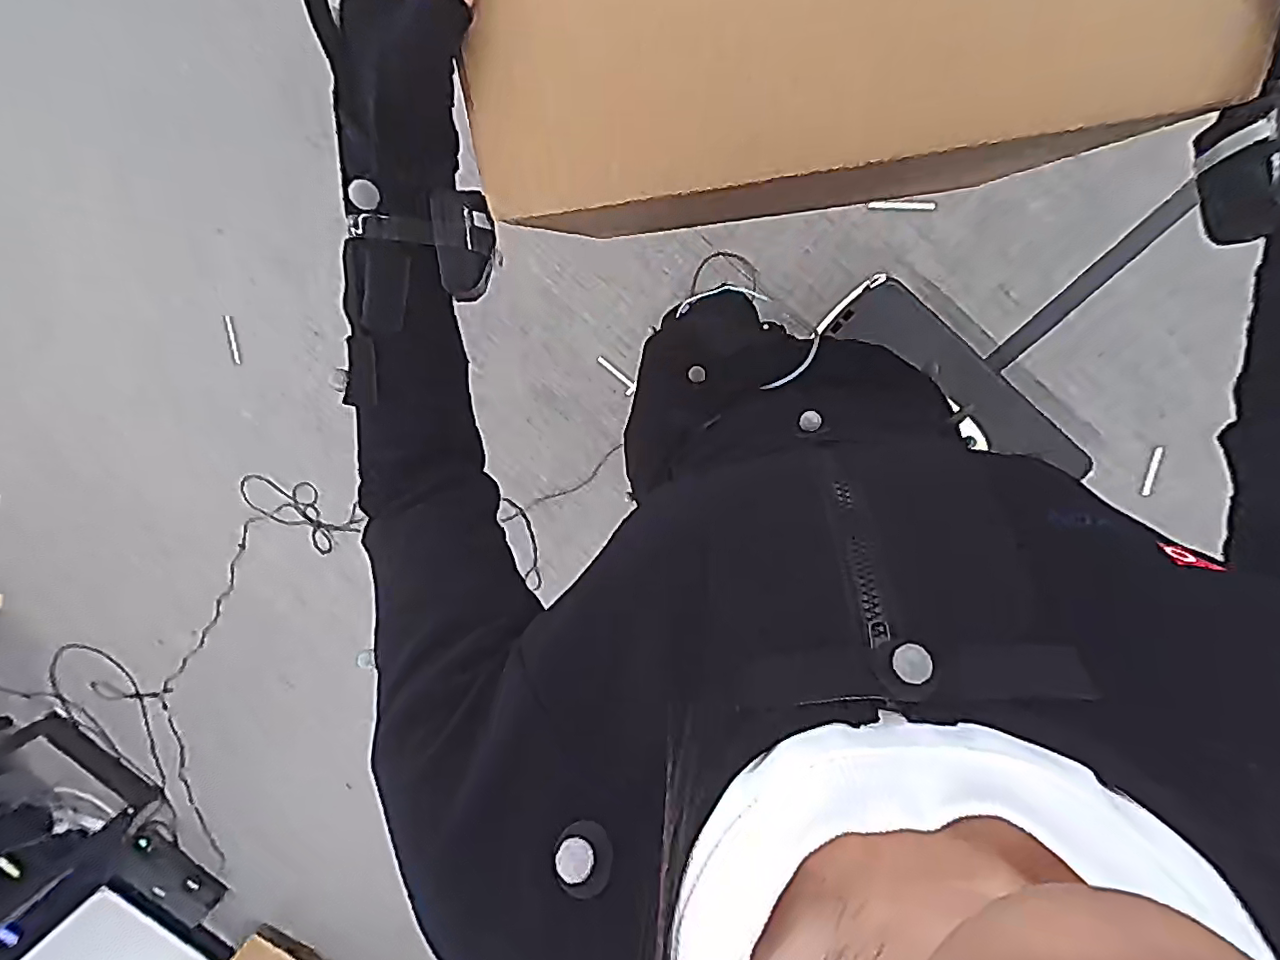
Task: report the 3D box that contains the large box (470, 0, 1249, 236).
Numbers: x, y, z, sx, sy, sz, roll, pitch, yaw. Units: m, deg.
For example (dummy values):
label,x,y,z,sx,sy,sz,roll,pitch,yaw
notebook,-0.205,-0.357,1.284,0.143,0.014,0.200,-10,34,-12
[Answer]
label,x,y,z,sx,sy,sz,roll,pitch,yaw
large box,0.109,-0.383,0.398,0.408,0.320,0.320,-4,111,10
